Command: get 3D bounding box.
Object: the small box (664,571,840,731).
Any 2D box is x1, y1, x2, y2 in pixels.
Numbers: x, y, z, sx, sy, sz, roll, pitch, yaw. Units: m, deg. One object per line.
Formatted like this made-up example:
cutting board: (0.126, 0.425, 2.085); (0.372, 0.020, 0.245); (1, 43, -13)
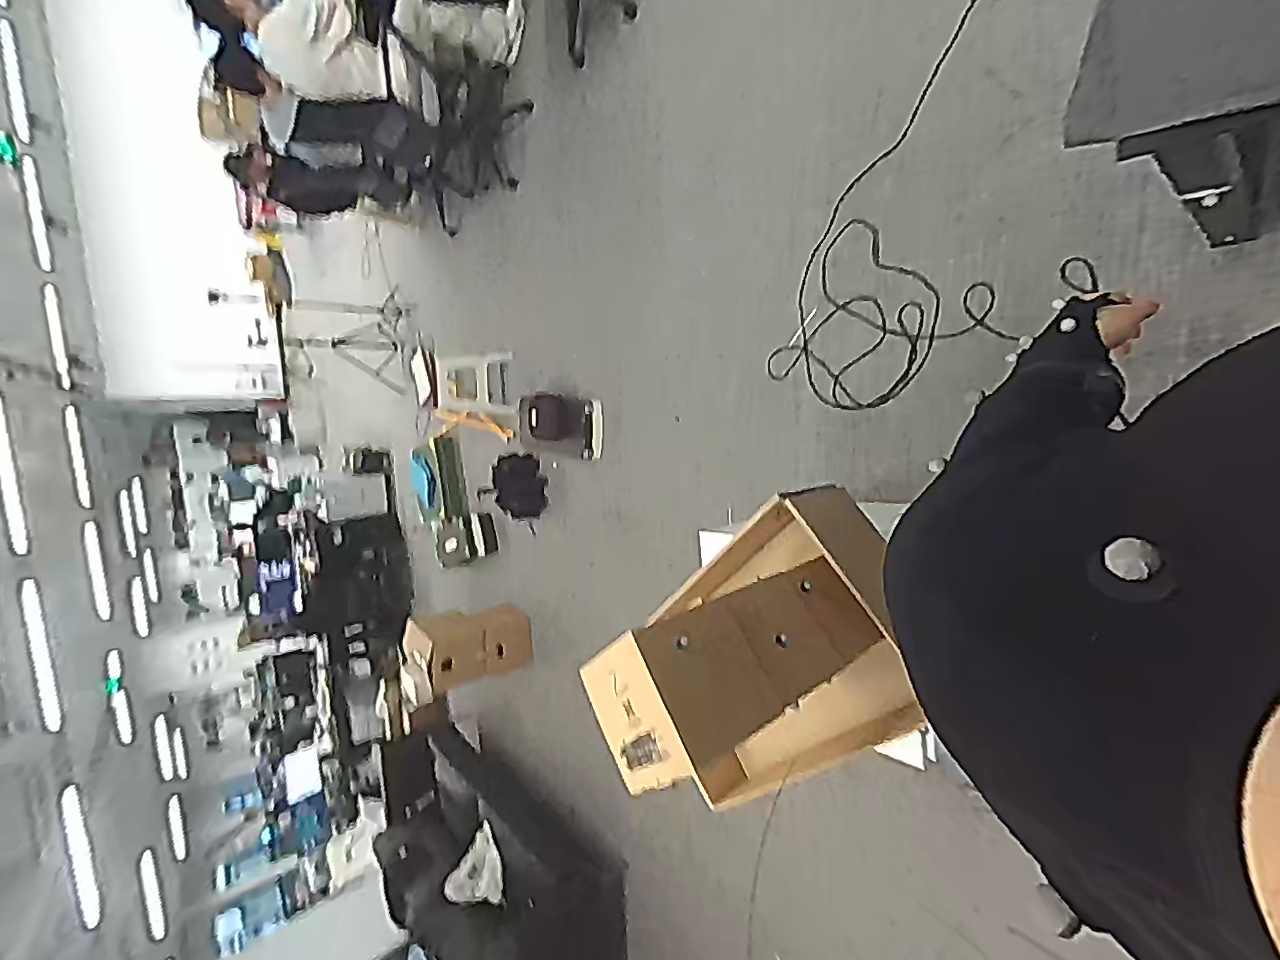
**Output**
small box: (0.176, 0.261, 0.861); (0.179, 0.176, 0.168); (59, 137, 22)
